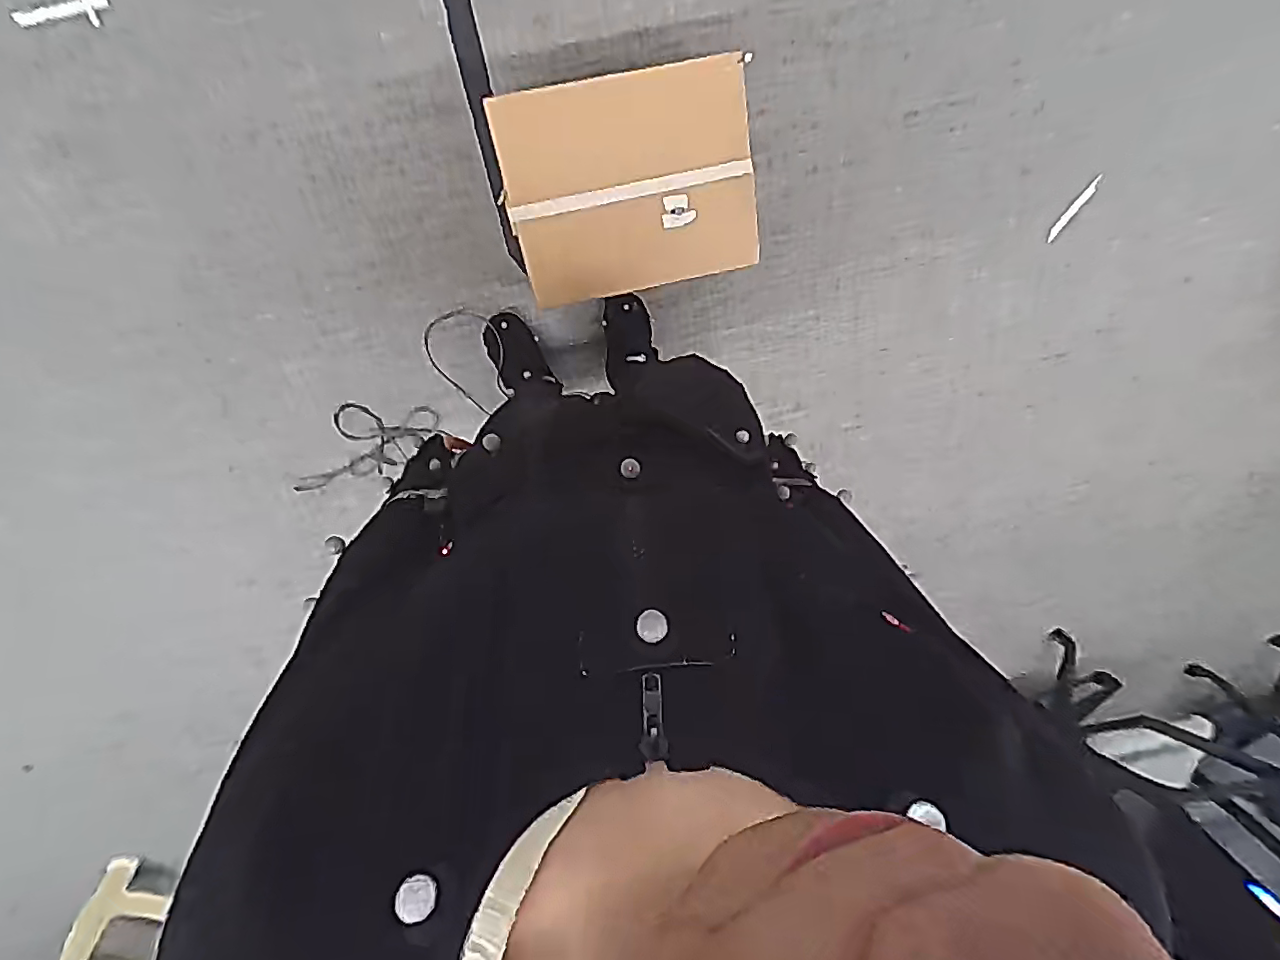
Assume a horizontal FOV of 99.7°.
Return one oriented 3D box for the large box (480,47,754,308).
[{"bbox_3d":[-0.044,-0.536,1.005,0.408,0.320,0.320,-14,117,-4],"label":"large box"}]
